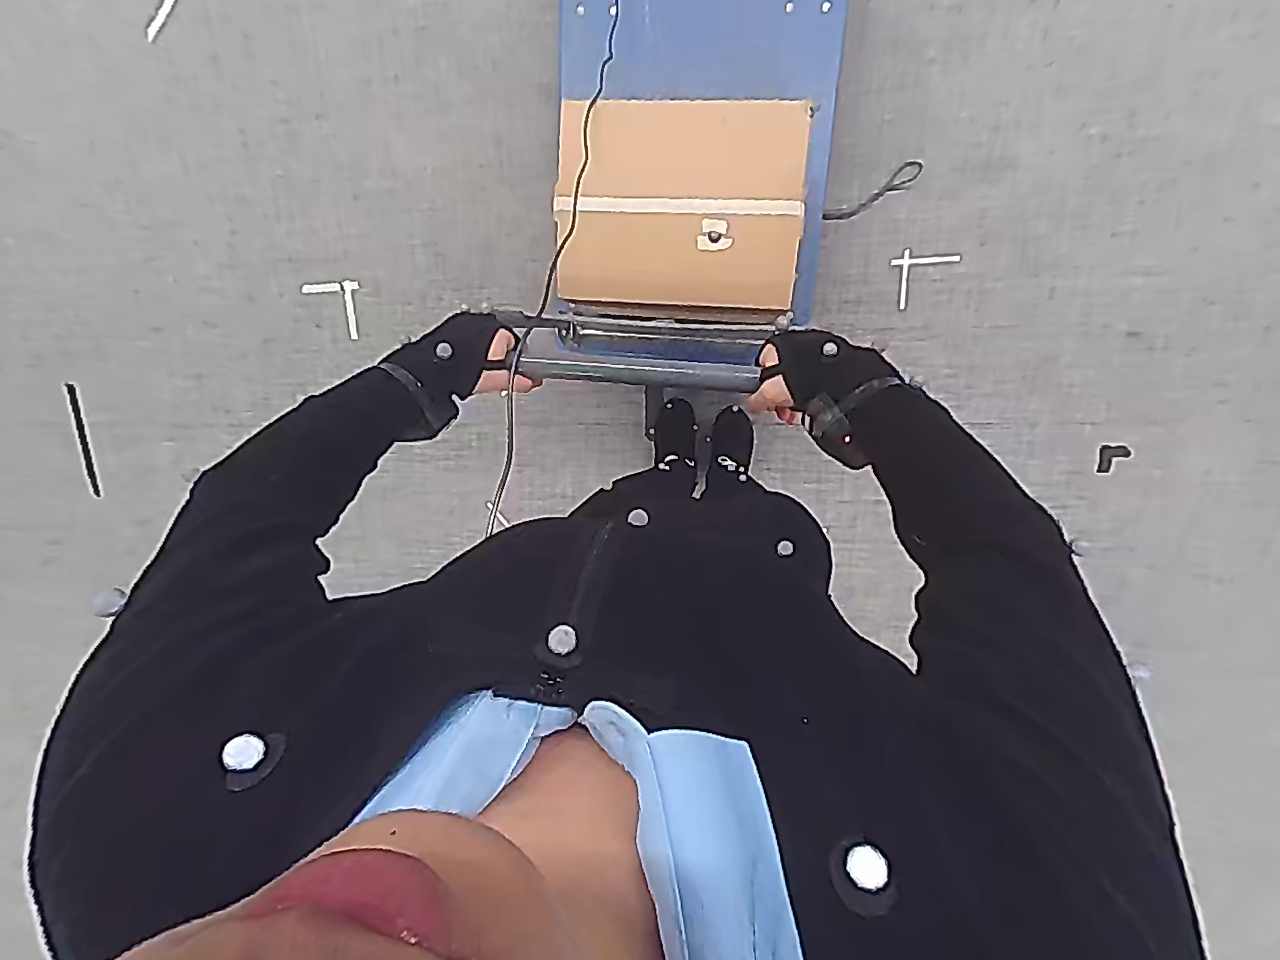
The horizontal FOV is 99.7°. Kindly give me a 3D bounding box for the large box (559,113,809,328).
[{"bbox_3d":[0.077,-0.467,1.040,0.408,0.320,0.320,5,103,6],"label":"large box"}]
